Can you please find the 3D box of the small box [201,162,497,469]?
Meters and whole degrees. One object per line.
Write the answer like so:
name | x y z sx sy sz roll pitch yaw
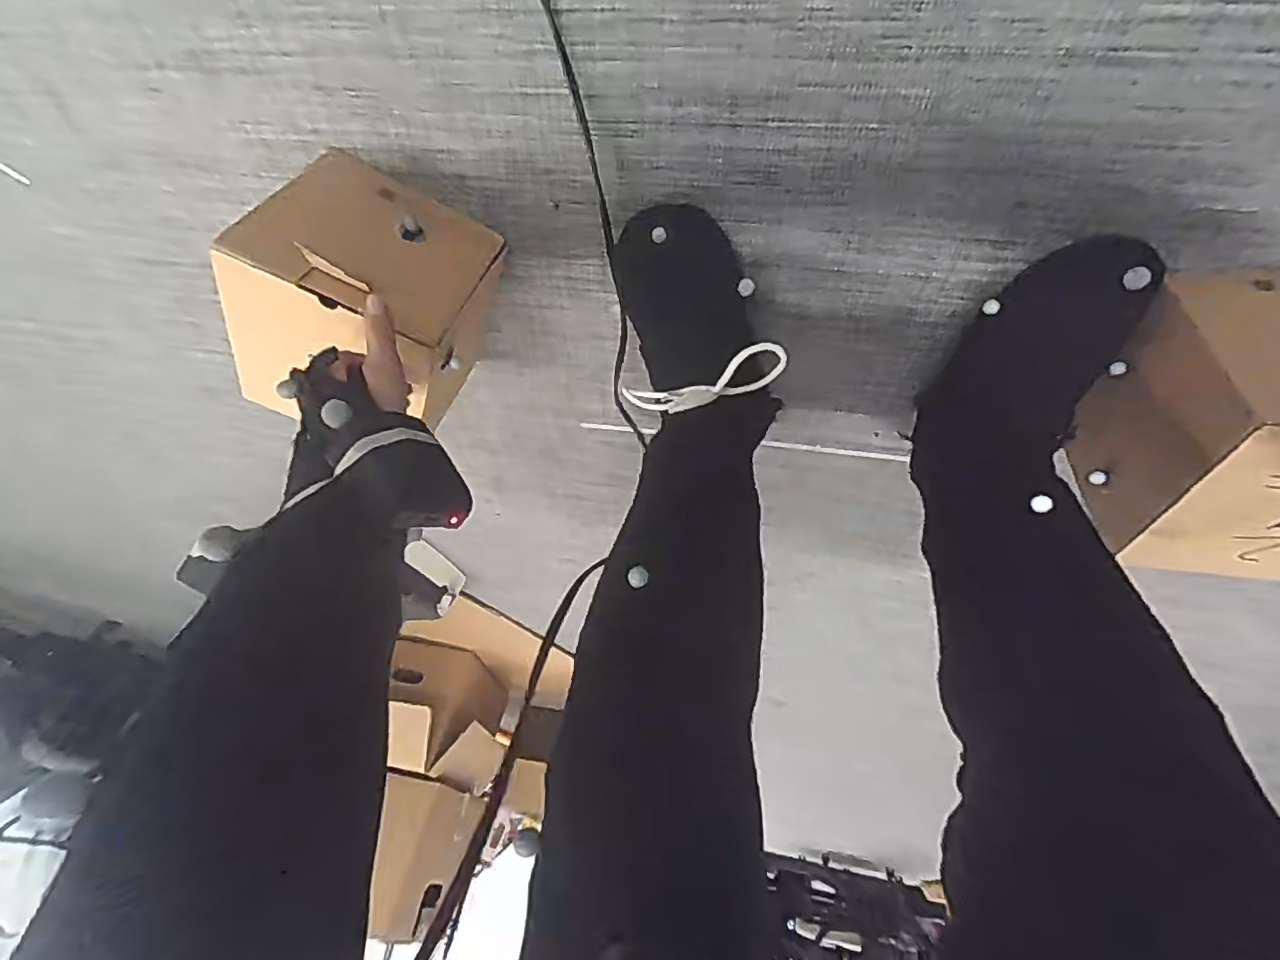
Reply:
small box | -0.250 -0.147 0.504 0.168 0.176 0.179 24 141 -13
